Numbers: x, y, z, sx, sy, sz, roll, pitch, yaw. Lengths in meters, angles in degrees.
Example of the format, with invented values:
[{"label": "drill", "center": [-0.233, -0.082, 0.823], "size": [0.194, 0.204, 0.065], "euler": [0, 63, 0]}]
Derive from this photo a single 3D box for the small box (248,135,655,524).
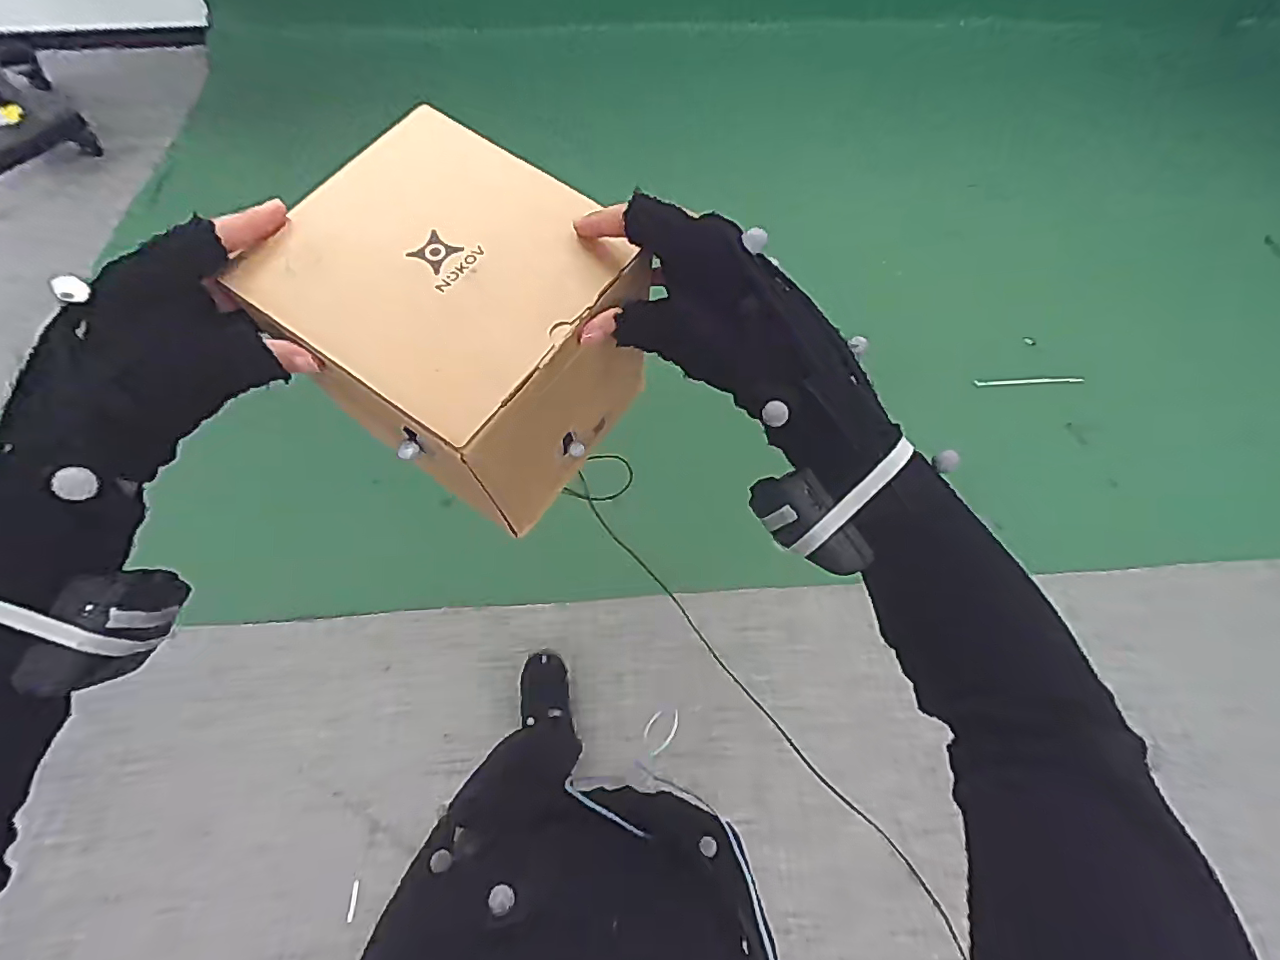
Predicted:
[{"label": "small box", "center": [-0.111, -0.090, 0.388], "size": [0.179, 0.176, 0.168], "euler": [34, 72, 9]}]
